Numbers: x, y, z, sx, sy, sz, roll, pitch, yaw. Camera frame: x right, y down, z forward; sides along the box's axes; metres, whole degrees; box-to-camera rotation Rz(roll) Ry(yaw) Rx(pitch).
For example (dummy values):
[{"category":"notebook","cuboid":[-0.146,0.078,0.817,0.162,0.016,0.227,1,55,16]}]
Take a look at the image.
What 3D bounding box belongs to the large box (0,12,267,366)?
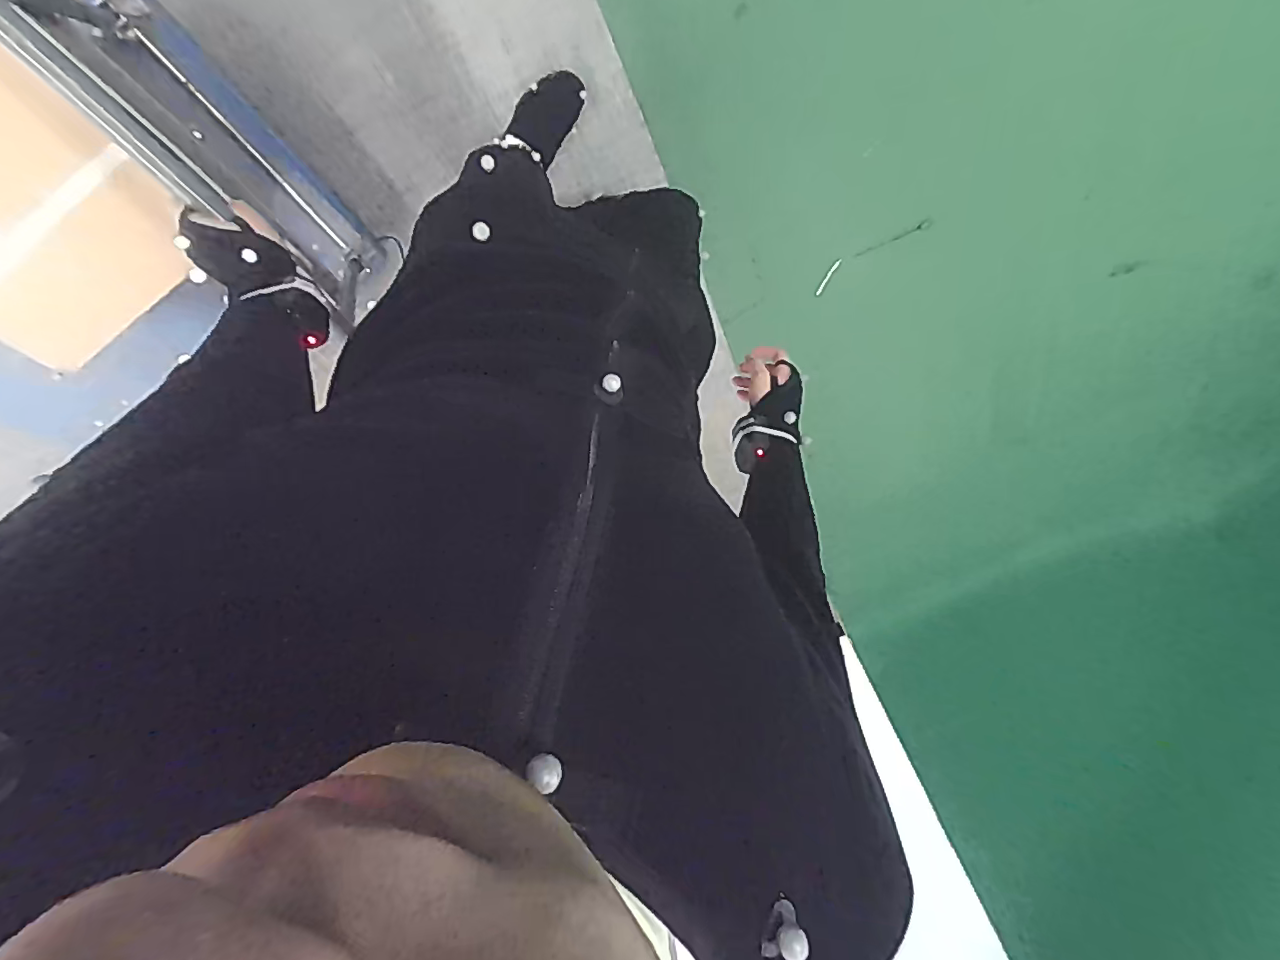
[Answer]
[{"category":"large box","cuboid":[-0.933,-0.483,0.914,0.408,0.320,0.320,-36,131,7]}]
